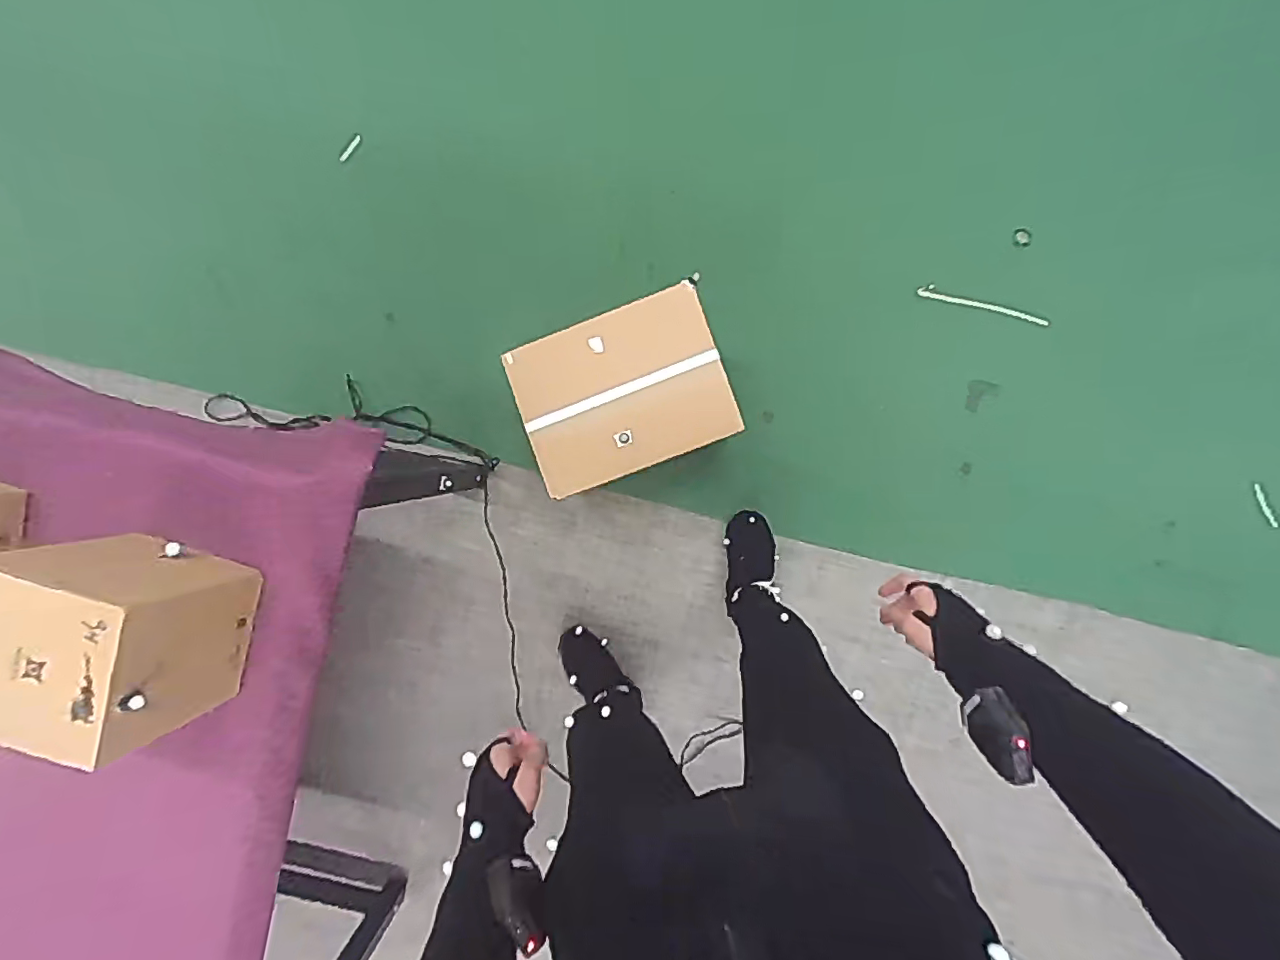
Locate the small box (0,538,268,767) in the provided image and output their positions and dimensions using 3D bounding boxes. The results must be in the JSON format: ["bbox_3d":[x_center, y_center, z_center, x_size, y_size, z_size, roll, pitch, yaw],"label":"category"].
[{"bbox_3d":[-0.564,0.168,0.593,0.179,0.176,0.168,16,95,5],"label":"small box"}]

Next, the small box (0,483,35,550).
[{"bbox_3d":[-0.864,0.075,0.605,0.179,0.176,0.168,15,95,1],"label":"small box"}]
